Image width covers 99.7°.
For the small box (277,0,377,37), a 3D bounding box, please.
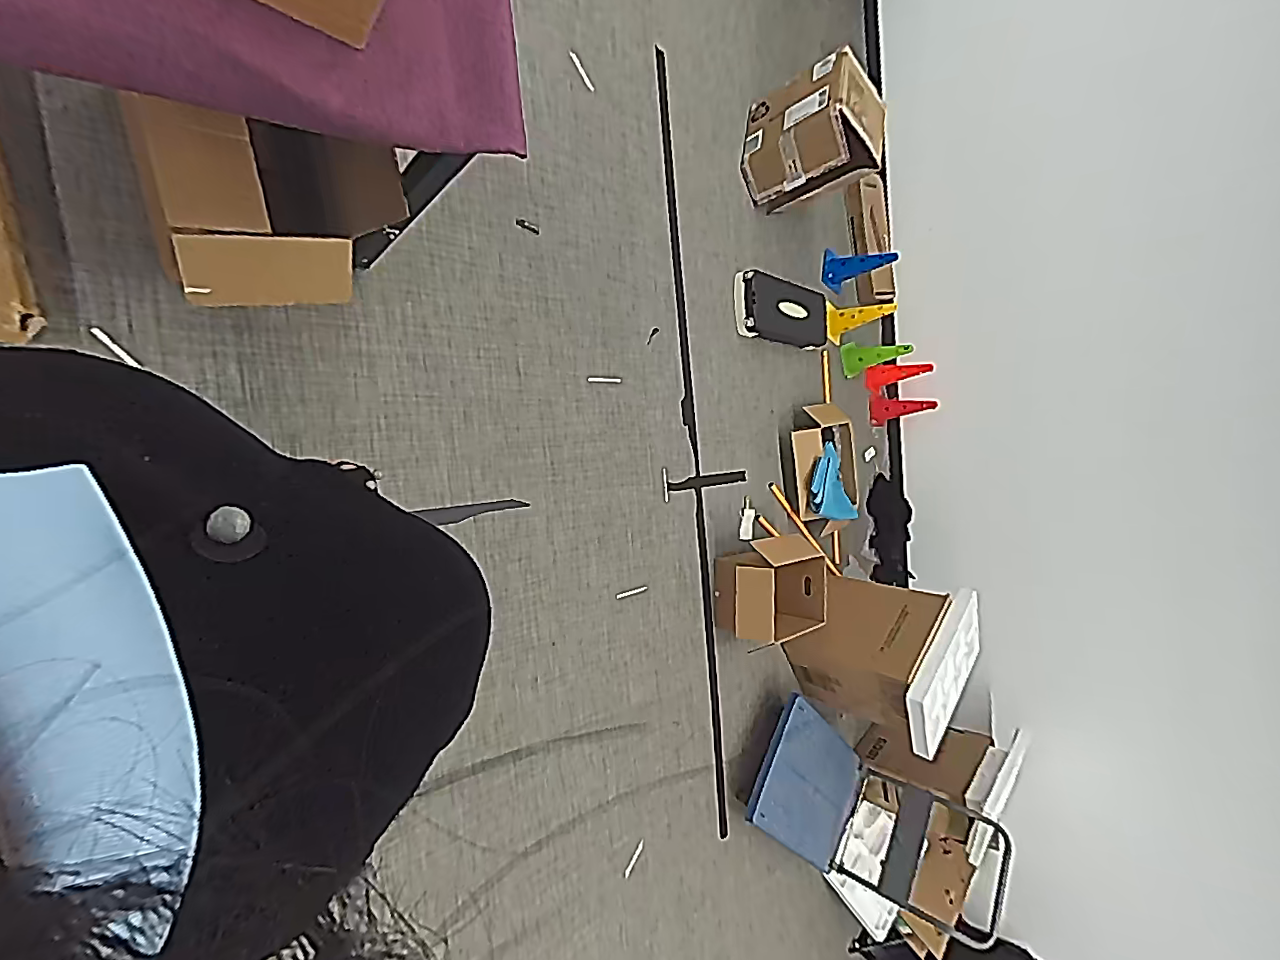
[{"bbox_3d":[-0.393,-0.673,0.622,0.179,0.176,0.168,-1,90,-43],"label":"small box"}]
